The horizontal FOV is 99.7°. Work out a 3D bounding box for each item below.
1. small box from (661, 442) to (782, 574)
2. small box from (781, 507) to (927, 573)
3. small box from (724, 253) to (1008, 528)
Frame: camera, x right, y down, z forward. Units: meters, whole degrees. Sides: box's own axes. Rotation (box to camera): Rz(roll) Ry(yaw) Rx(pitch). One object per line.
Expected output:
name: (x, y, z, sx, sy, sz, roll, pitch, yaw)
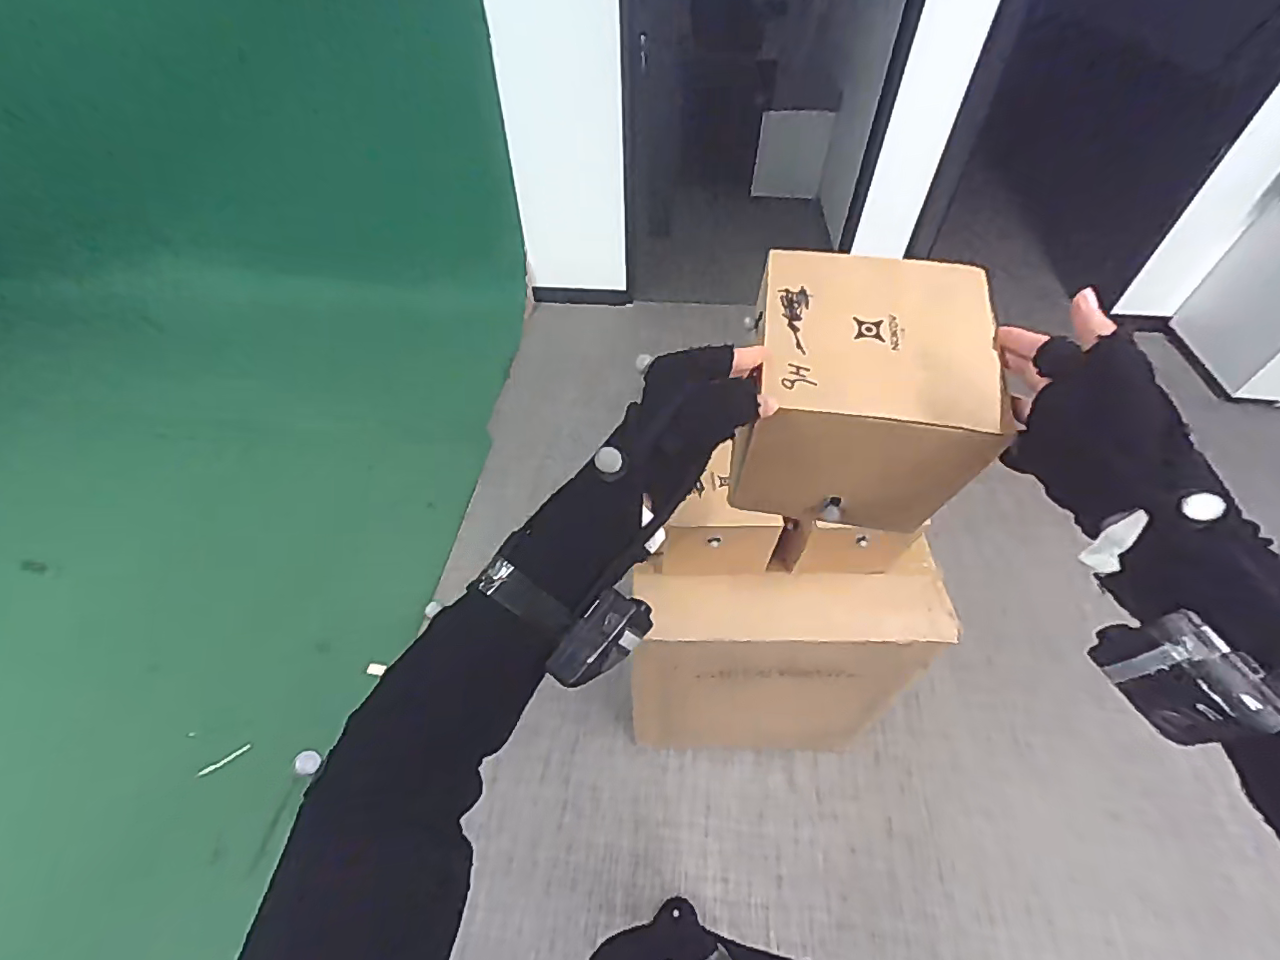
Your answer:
small box: (0.125, 0.051, 0.911, 0.179, 0.176, 0.168, 0, 55, -1)
small box: (0.339, 0.050, 0.913, 0.179, 0.176, 0.168, -1, 56, -3)
small box: (0.181, -0.070, 0.486, 0.179, 0.176, 0.168, 9, 61, 4)
